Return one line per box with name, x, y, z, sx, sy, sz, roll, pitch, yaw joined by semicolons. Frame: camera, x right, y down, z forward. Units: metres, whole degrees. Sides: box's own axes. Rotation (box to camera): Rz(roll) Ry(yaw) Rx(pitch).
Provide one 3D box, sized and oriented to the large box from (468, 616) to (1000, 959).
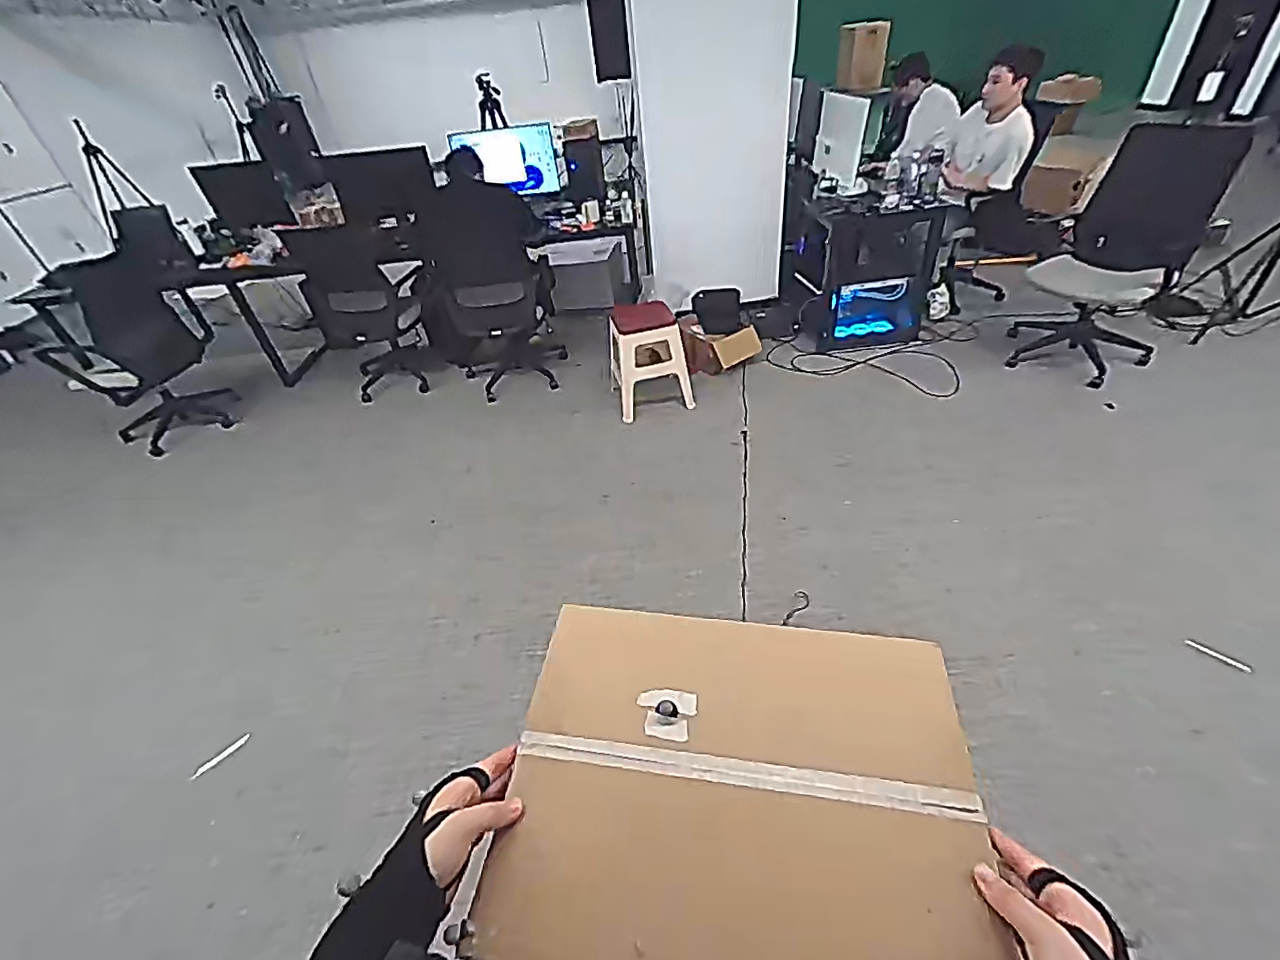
large box;0.094;0.377;0.597;0.408;0.320;0.320;2;43;10
